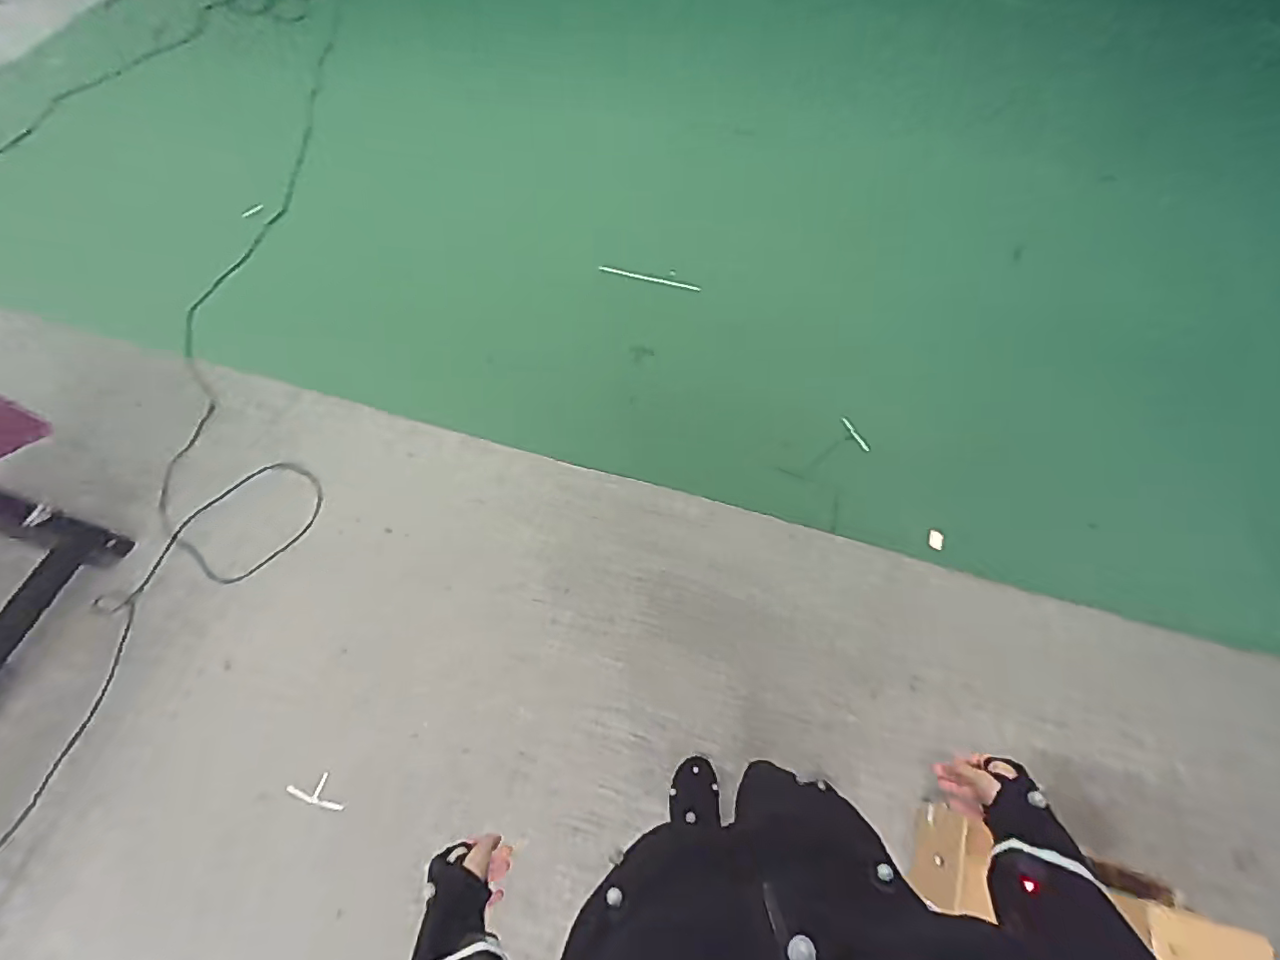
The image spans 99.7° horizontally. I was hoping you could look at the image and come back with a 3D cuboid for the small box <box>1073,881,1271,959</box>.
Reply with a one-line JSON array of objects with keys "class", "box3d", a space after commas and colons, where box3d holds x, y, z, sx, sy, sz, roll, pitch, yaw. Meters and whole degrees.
[{"class": "small box", "box3d": [0.849, 0.781, 0.871, 0.179, 0.176, 0.168, 14, 65, 9]}]
